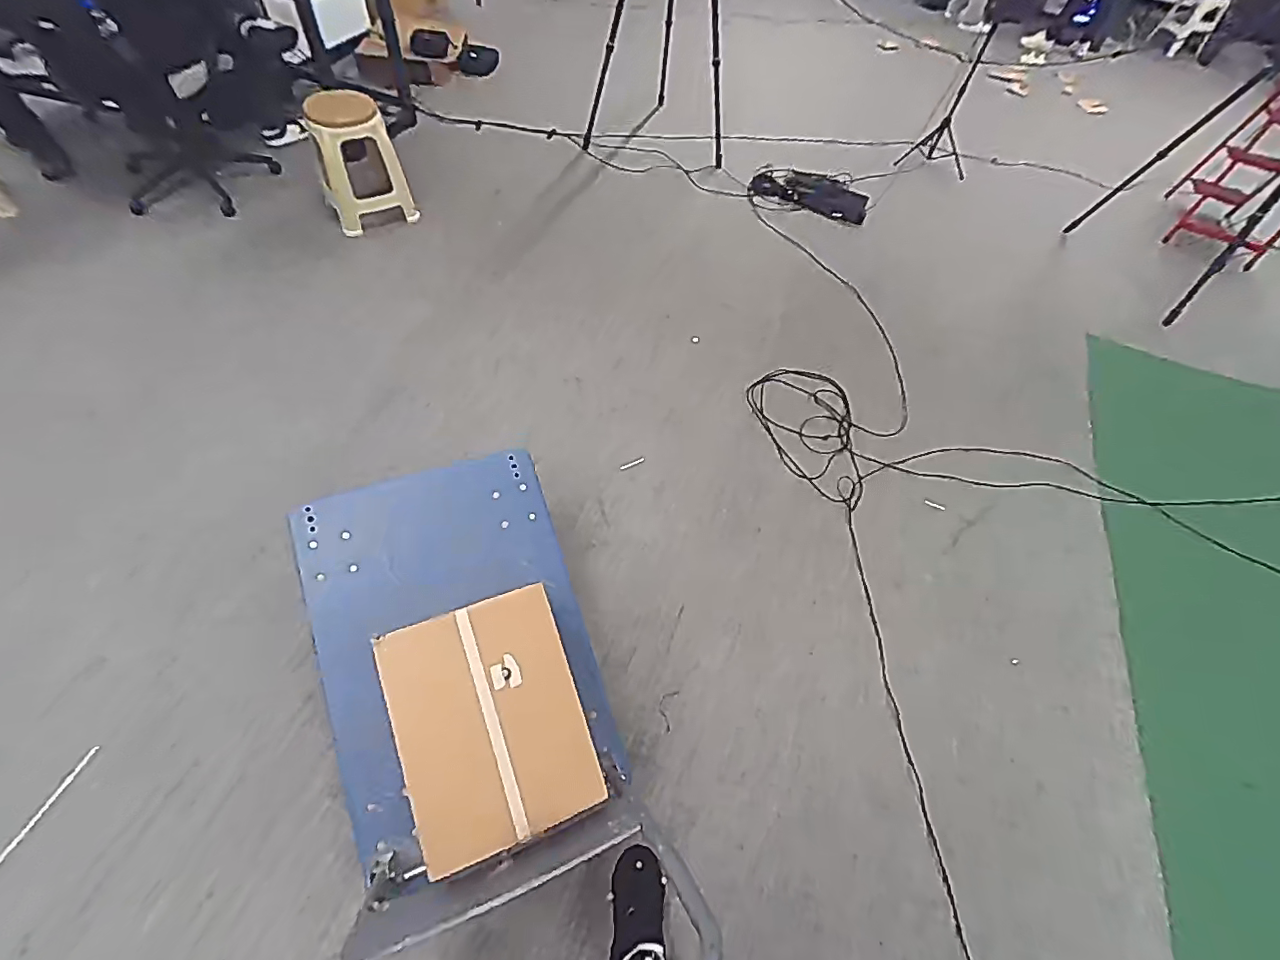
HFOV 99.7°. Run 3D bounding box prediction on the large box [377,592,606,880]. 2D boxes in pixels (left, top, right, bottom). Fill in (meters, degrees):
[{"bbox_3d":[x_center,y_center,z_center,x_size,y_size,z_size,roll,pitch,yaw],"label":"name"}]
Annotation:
[{"bbox_3d":[-0.295,0.485,1.113,0.320,0.320,0.408,-16,77,-17],"label":"large box"}]
